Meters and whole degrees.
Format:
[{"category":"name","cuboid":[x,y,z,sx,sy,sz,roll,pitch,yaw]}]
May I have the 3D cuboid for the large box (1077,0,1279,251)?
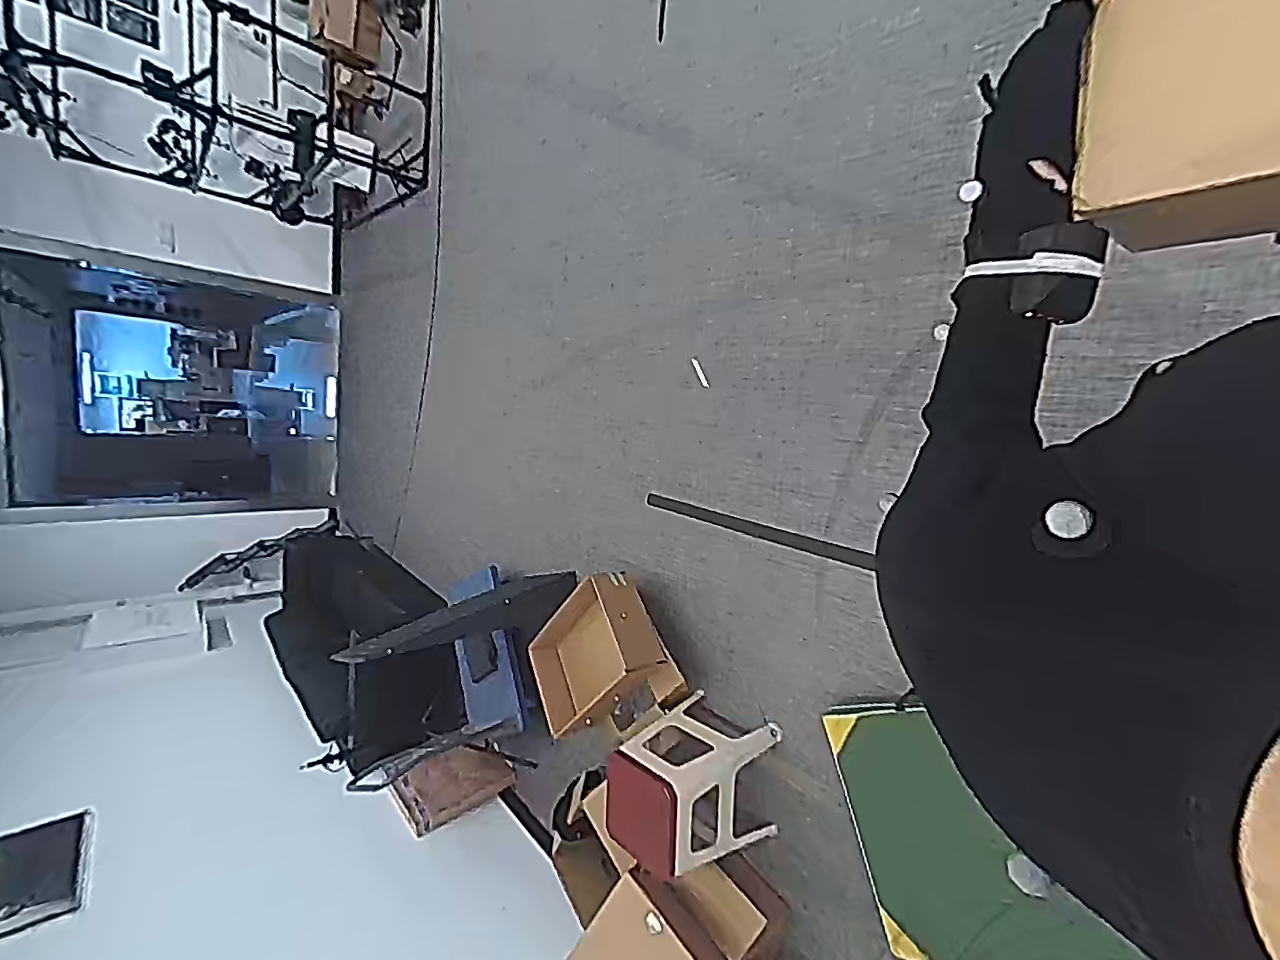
[{"category":"large box","cuboid":[0.569,-0.363,0.346,0.408,0.320,0.320,9,107,46]}]
